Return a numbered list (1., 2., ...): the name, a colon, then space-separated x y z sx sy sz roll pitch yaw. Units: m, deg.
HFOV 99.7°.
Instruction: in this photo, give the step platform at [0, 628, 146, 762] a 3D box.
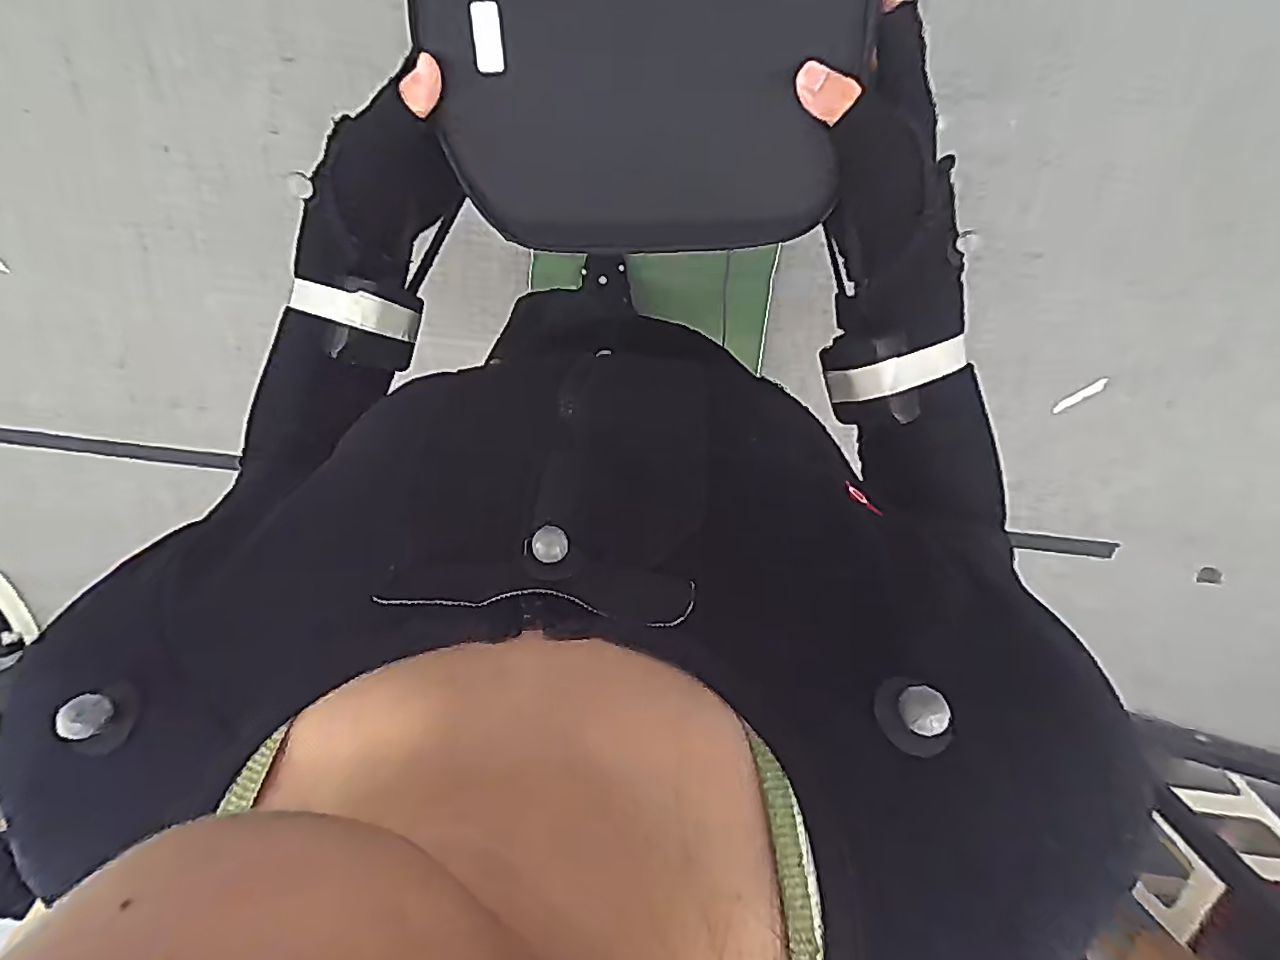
1. step platform: -2.070 0.750 1.818 0.684 0.204 0.286 -22 106 9
